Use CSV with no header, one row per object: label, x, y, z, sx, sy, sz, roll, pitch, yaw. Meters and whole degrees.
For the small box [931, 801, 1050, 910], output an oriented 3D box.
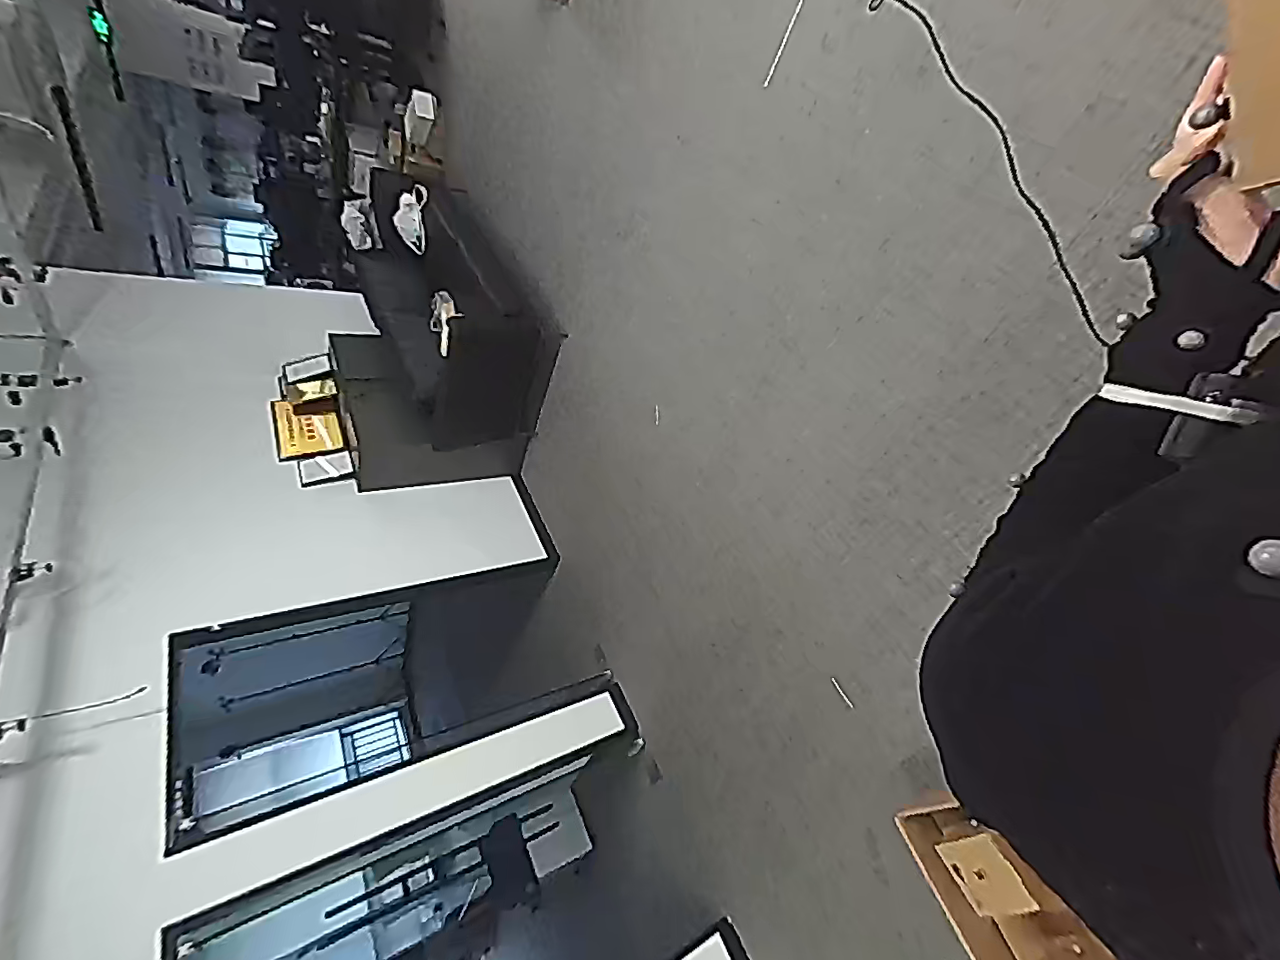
small box,0.898,0.951,1.378,0.168,0.176,0.179,61,139,29
